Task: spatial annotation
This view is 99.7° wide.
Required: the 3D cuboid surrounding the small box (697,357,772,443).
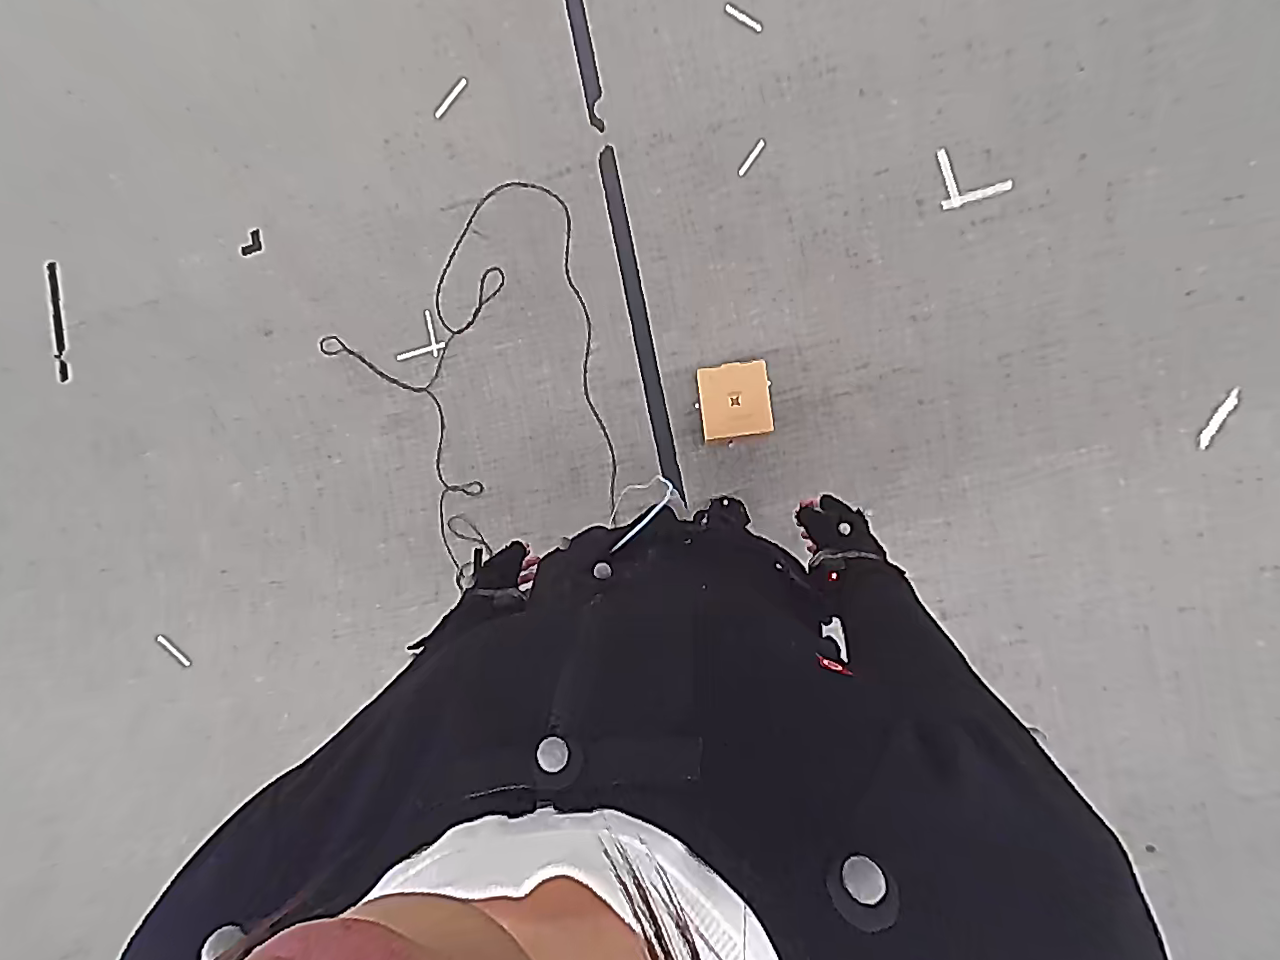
[{"bbox_3d":[0.237,-0.198,1.381,0.168,0.176,0.179,-7,87,8],"label":"small box"}]
